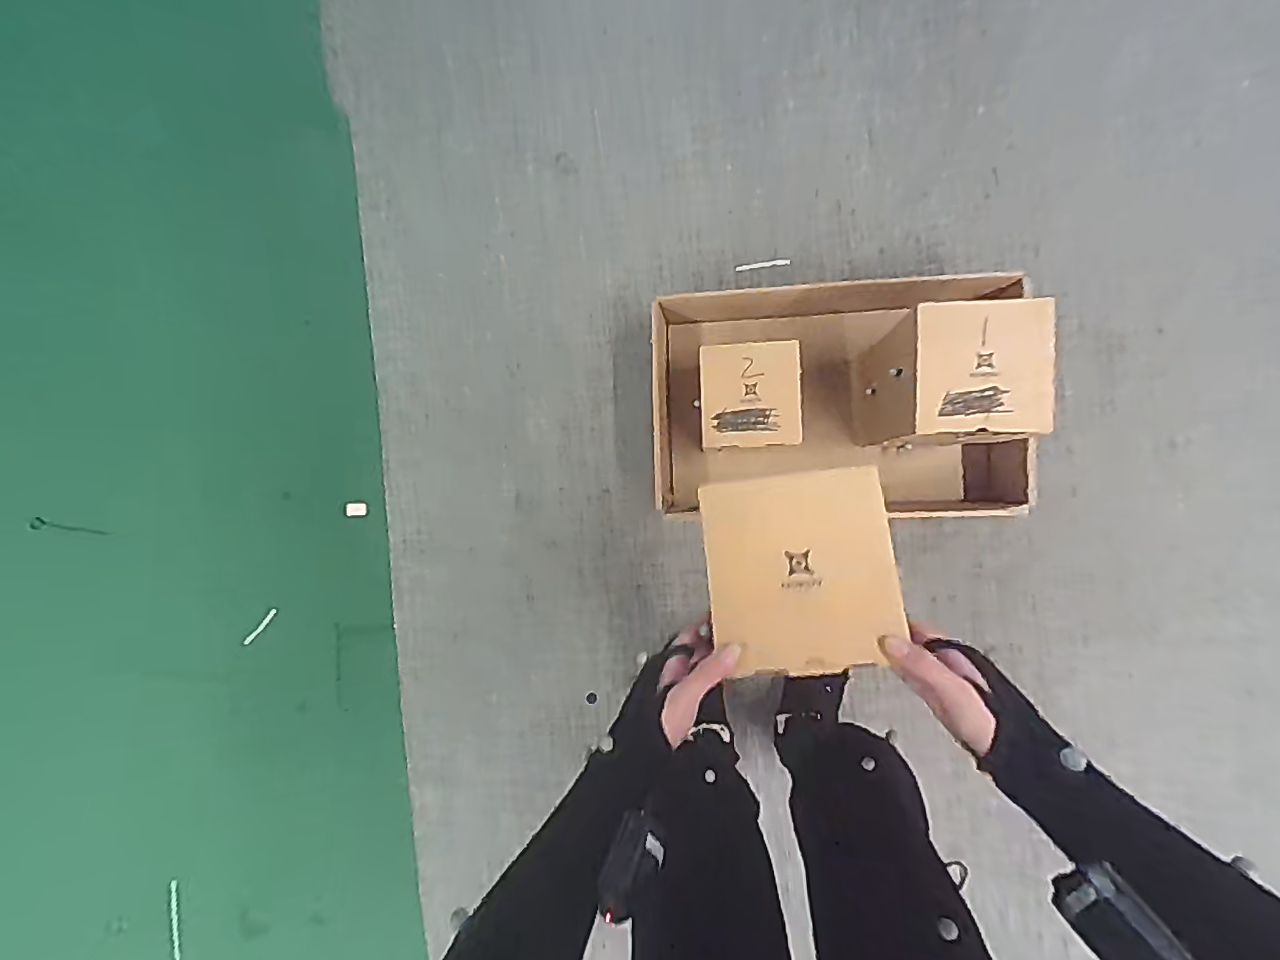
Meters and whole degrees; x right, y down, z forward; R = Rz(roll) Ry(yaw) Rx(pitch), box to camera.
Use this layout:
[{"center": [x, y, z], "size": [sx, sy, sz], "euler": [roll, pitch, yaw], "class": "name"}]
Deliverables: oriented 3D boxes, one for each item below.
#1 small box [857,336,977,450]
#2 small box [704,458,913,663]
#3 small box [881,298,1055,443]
[{"center": [0.481, -0.145, 0.937], "size": [0.168, 0.176, 0.179], "euler": [-1, 90, 9], "class": "small box"}, {"center": [0.155, 0.089, 0.561], "size": [0.168, 0.176, 0.179], "euler": [-6, 76, 7], "class": "small box"}, {"center": [0.456, -0.145, 0.775], "size": [0.168, 0.176, 0.179], "euler": [1, 89, 9], "class": "small box"}]
